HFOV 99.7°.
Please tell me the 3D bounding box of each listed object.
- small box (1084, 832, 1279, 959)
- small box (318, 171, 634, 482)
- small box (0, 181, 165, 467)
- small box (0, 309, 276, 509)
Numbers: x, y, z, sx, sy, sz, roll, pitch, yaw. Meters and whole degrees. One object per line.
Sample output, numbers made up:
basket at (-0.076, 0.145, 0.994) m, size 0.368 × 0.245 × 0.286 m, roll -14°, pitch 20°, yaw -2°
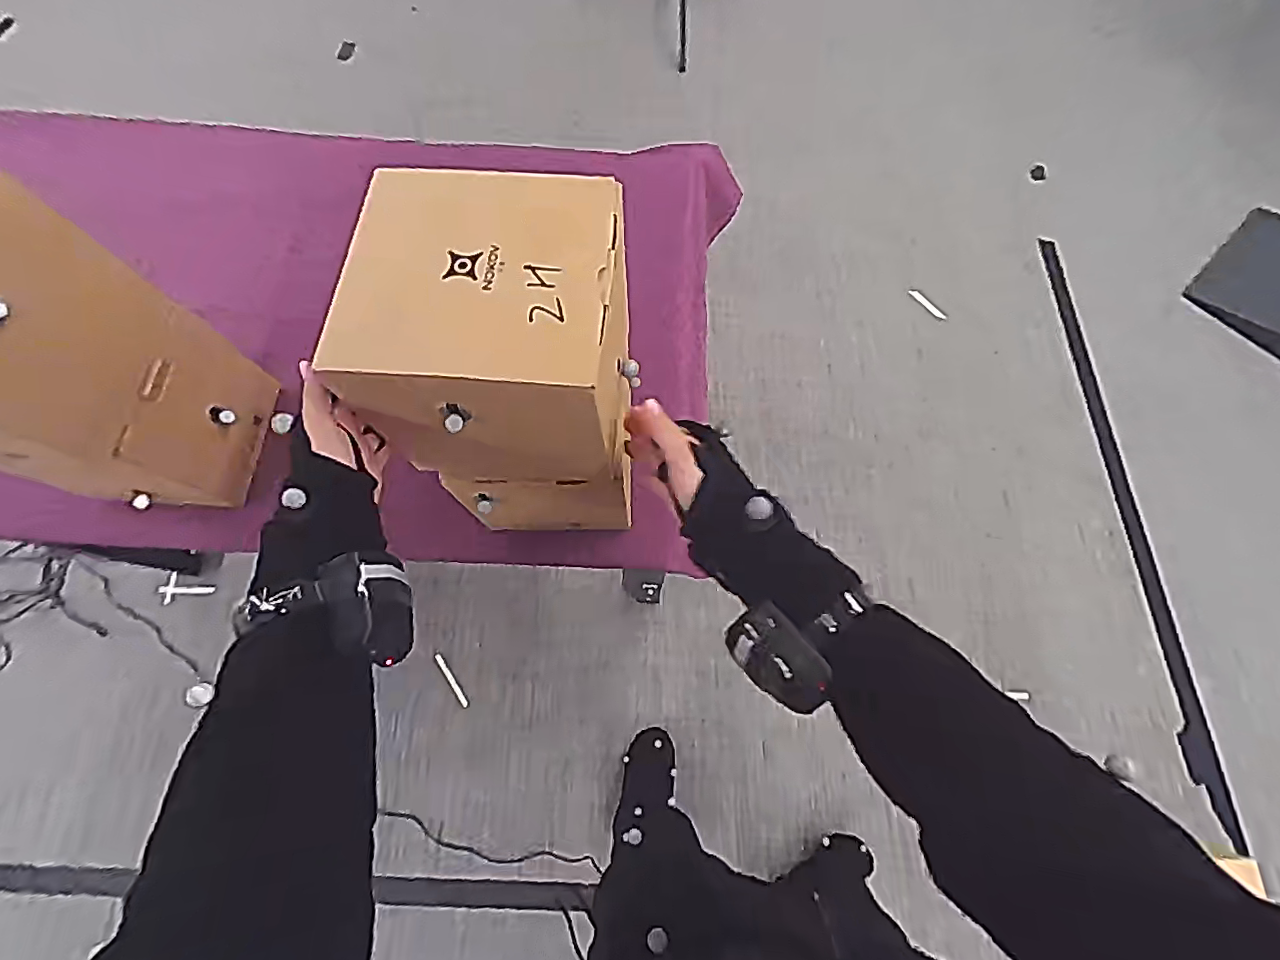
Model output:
small box at (0.909, 0.719, 0.918) m, size 0.168 × 0.176 × 0.179 m, roll 1°, pitch 72°, yaw 0°
small box at (-0.099, -0.105, 0.420) m, size 0.179 × 0.176 × 0.168 m, roll 4°, pitch 70°, yaw 2°
small box at (-0.536, -0.119, 0.423) m, size 0.168 × 0.176 × 0.179 m, roll 3°, pitch 70°, yaw 1°
small box at (-0.540, -0.070, 0.581) m, size 0.179 × 0.176 × 0.168 m, roll 3°, pitch 71°, yaw 0°
